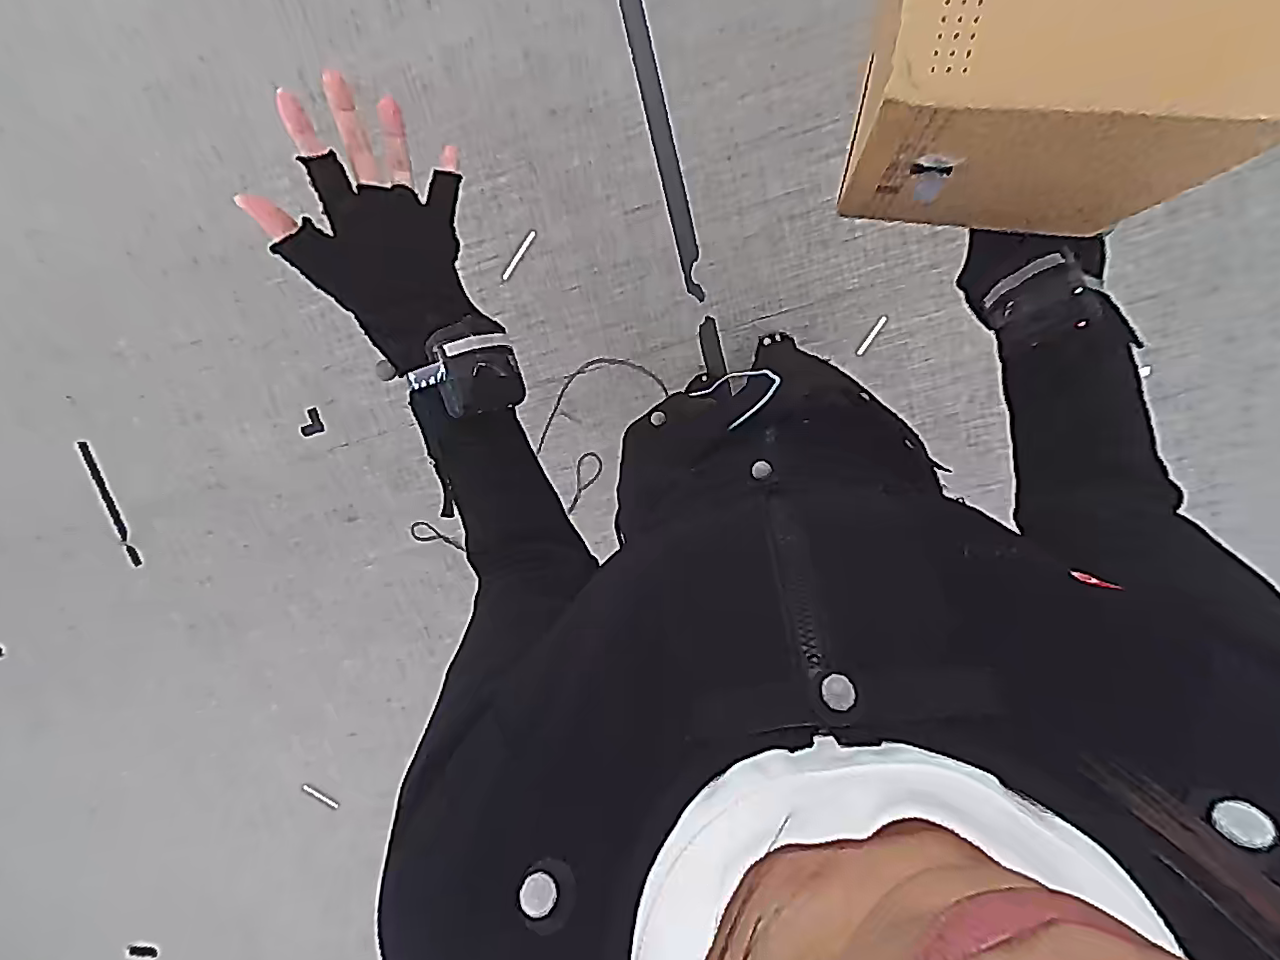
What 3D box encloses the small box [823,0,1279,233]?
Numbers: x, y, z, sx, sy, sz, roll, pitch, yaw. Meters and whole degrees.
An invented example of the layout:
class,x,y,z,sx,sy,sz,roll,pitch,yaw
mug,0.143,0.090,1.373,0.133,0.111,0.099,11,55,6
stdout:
class,x,y,z,sx,sy,sz,roll,pitch,yaw
small box,0.208,-0.255,0.293,0.176,0.168,0.179,11,101,12
